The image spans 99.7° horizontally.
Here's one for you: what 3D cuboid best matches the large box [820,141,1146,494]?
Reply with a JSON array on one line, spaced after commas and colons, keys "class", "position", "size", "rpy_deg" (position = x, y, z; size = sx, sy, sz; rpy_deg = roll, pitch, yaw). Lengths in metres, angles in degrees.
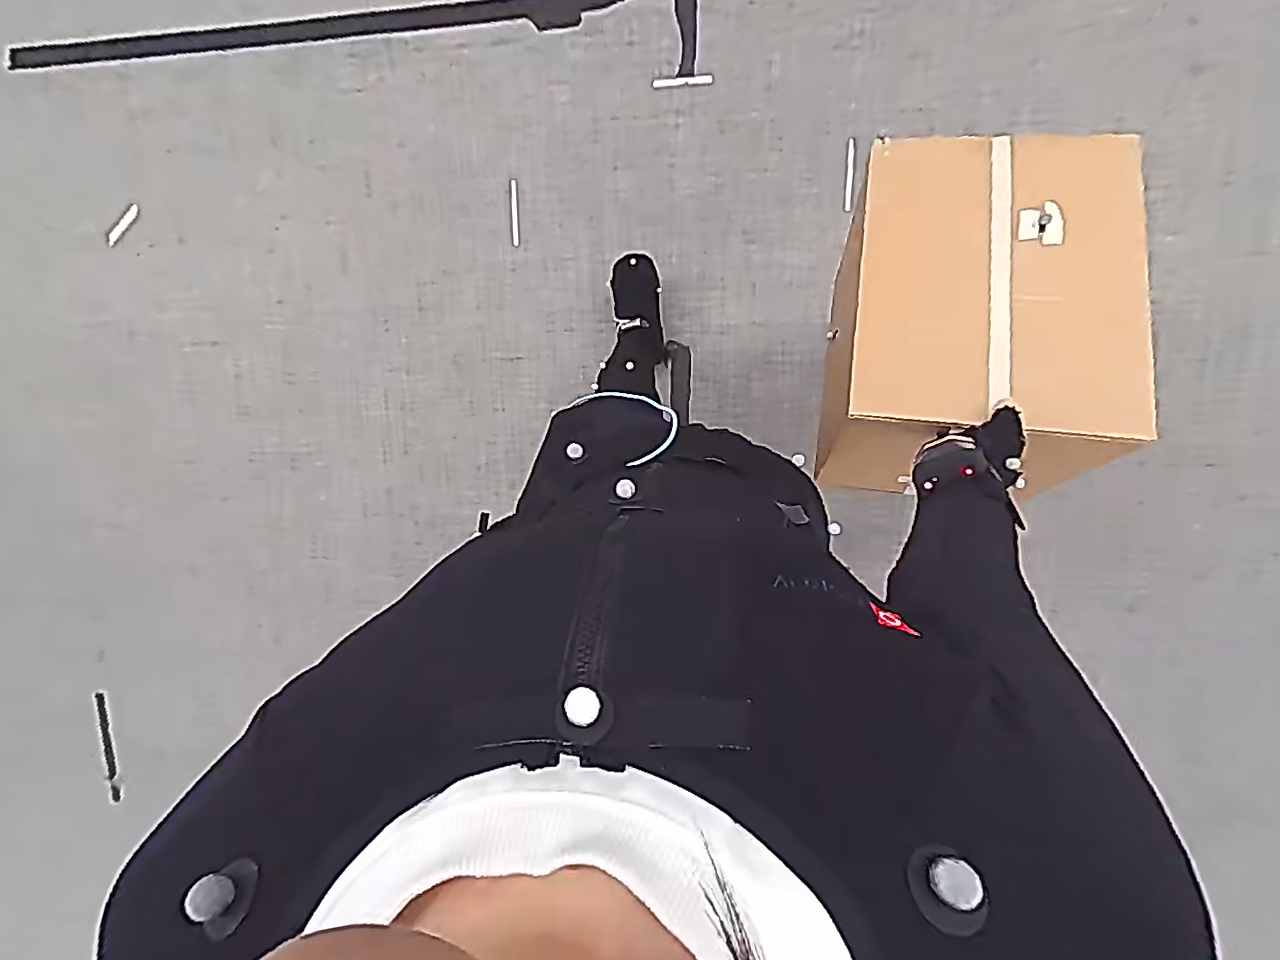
[{"class": "large box", "position": [0.461, -0.218, 0.813], "size": [0.320, 0.320, 0.408], "rpy_deg": [7, 75, 10]}]
